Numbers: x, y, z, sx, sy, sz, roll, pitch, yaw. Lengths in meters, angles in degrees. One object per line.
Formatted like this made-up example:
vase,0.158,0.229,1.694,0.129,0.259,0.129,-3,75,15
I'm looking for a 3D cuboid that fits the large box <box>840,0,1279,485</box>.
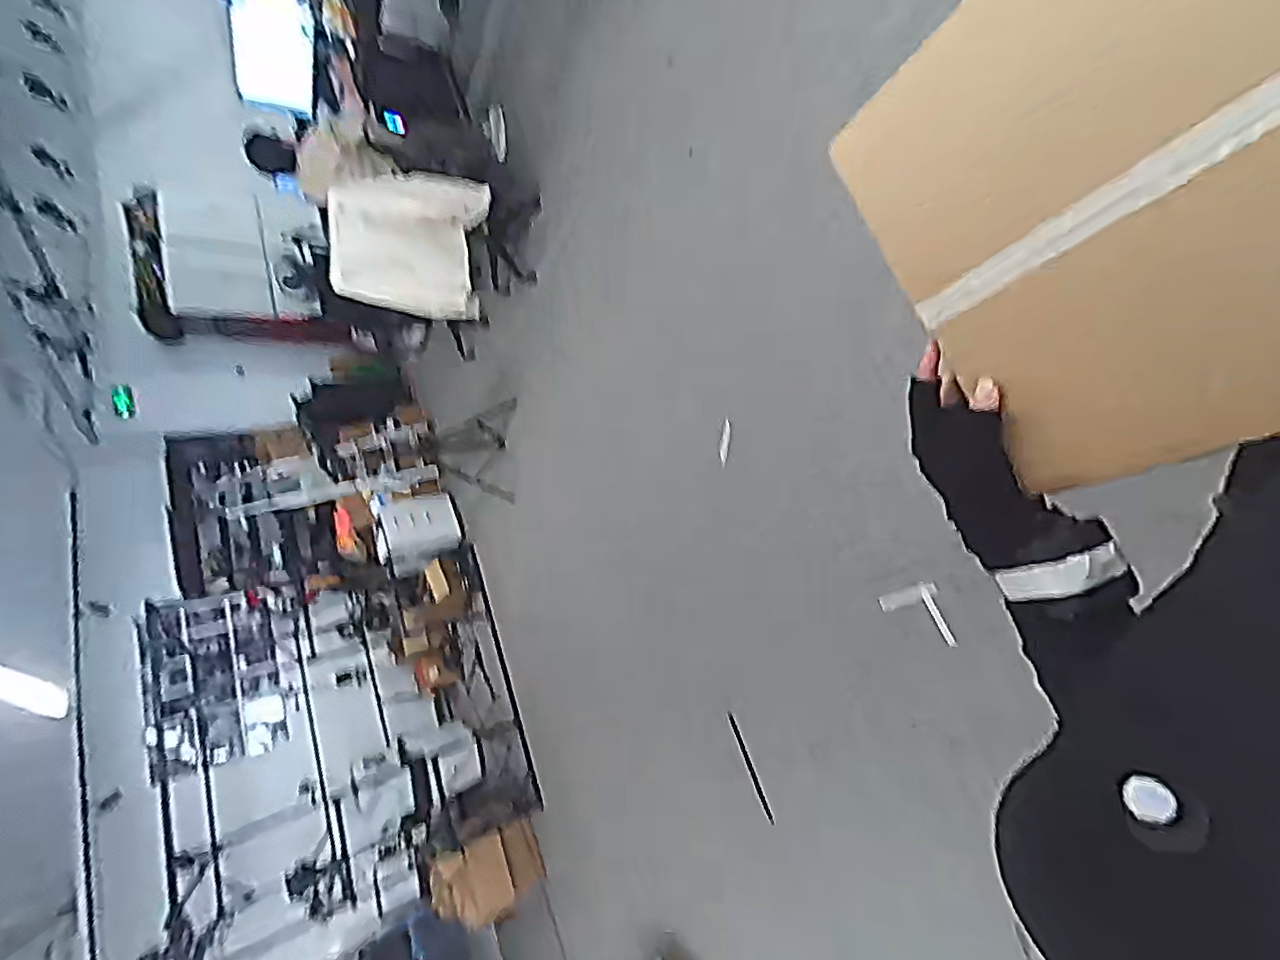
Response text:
large box,0.432,-0.240,0.352,0.408,0.320,0.320,-33,83,55
